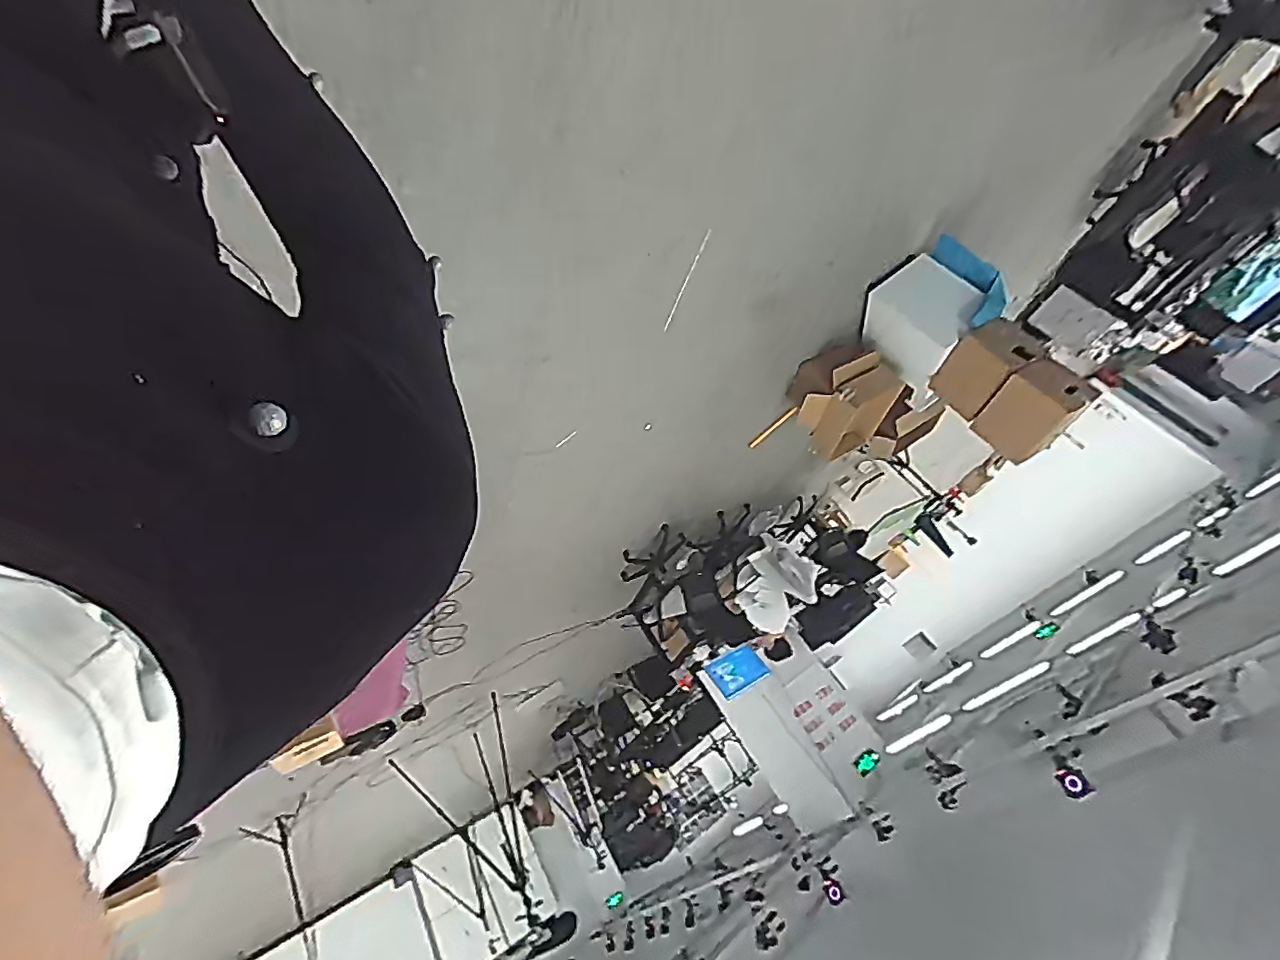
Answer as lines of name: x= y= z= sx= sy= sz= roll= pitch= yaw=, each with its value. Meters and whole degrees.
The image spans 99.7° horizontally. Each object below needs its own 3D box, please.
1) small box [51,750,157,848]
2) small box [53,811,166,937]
small box: x=-1.364 y=0.825 z=1.379 sx=0.179 sy=0.176 sz=0.168 roll=-6 pitch=141 yaw=-43
small box: x=-1.276 y=0.941 z=1.305 sx=0.179 sy=0.176 sz=0.168 roll=-8 pitch=141 yaw=-43
